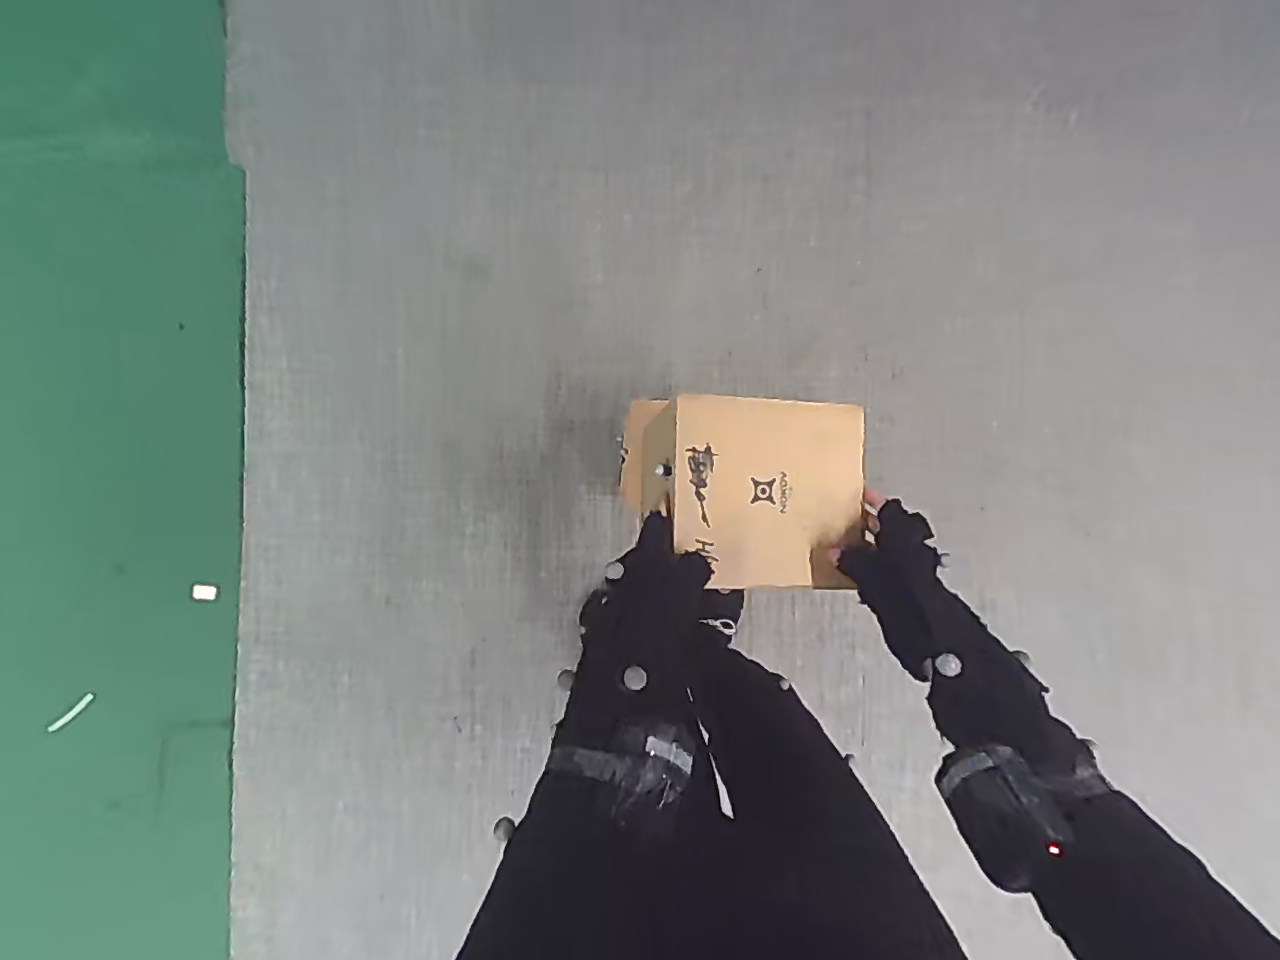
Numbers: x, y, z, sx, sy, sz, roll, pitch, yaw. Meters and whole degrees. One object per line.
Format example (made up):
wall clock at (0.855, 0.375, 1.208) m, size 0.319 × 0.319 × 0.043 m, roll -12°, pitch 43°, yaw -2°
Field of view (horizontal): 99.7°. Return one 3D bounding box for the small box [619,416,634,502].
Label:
small box at (0.053, -0.031, 1.086) m, size 0.179 × 0.176 × 0.168 m, roll 4°, pitch 90°, yaw -1°

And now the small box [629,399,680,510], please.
small box at (0.068, -0.037, 0.925) m, size 0.168 × 0.176 × 0.179 m, roll 2°, pitch 91°, yaw 1°

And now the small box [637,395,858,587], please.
small box at (0.100, 0.017, 0.560) m, size 0.179 × 0.176 × 0.168 m, roll 3°, pitch 84°, yaw -9°
